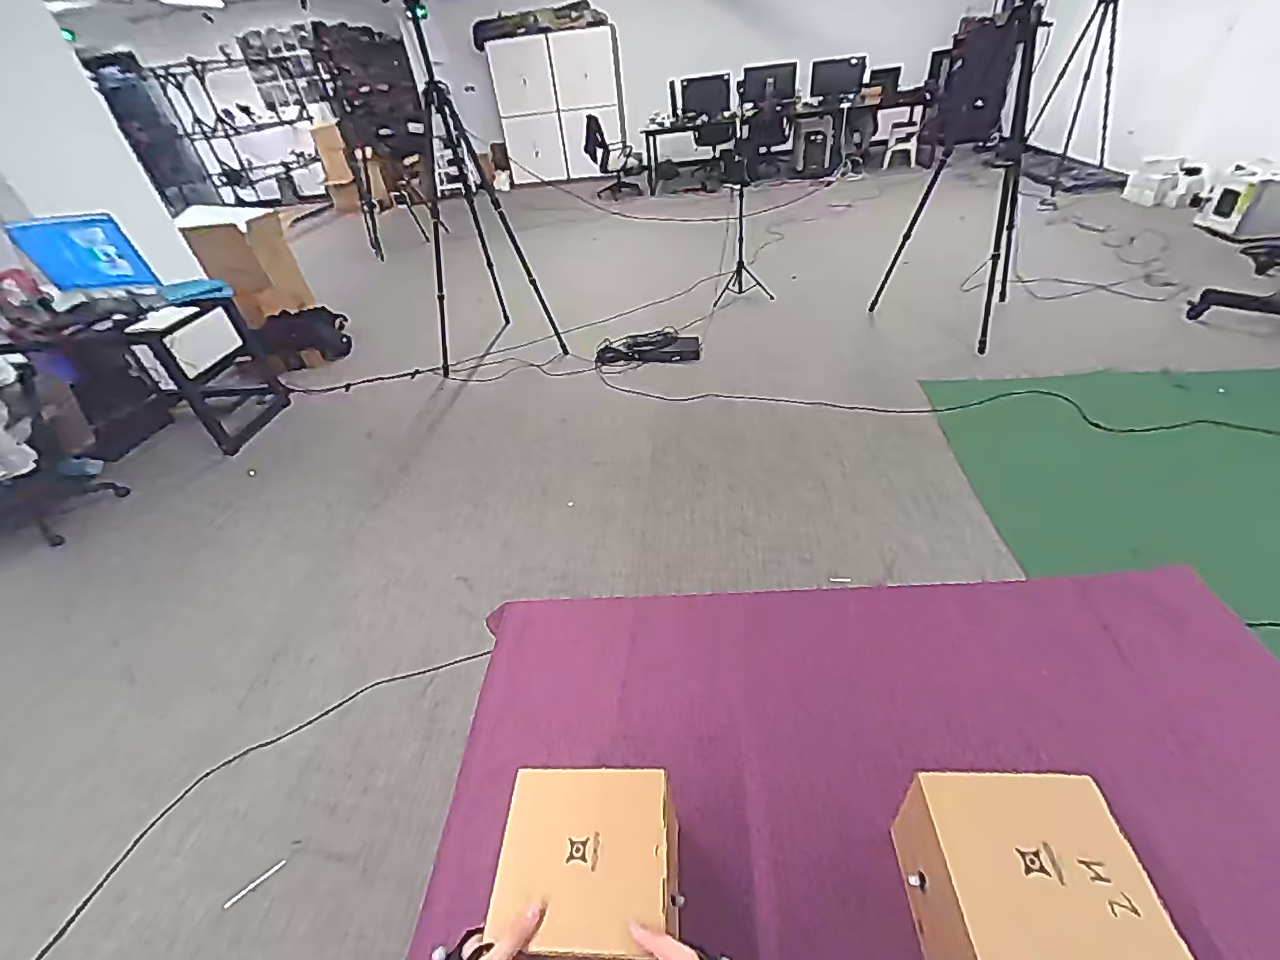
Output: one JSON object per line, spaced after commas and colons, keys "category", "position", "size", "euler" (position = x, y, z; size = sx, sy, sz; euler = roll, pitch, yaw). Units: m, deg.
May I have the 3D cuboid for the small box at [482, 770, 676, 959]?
{"category": "small box", "position": [-0.052, 0.451, 0.611], "size": [0.179, 0.176, 0.168], "euler": [-2, 38, 5]}

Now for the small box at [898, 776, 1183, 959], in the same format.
{"category": "small box", "position": [0.385, 0.432, 0.562], "size": [0.179, 0.176, 0.168], "euler": [-2, 39, 7]}
